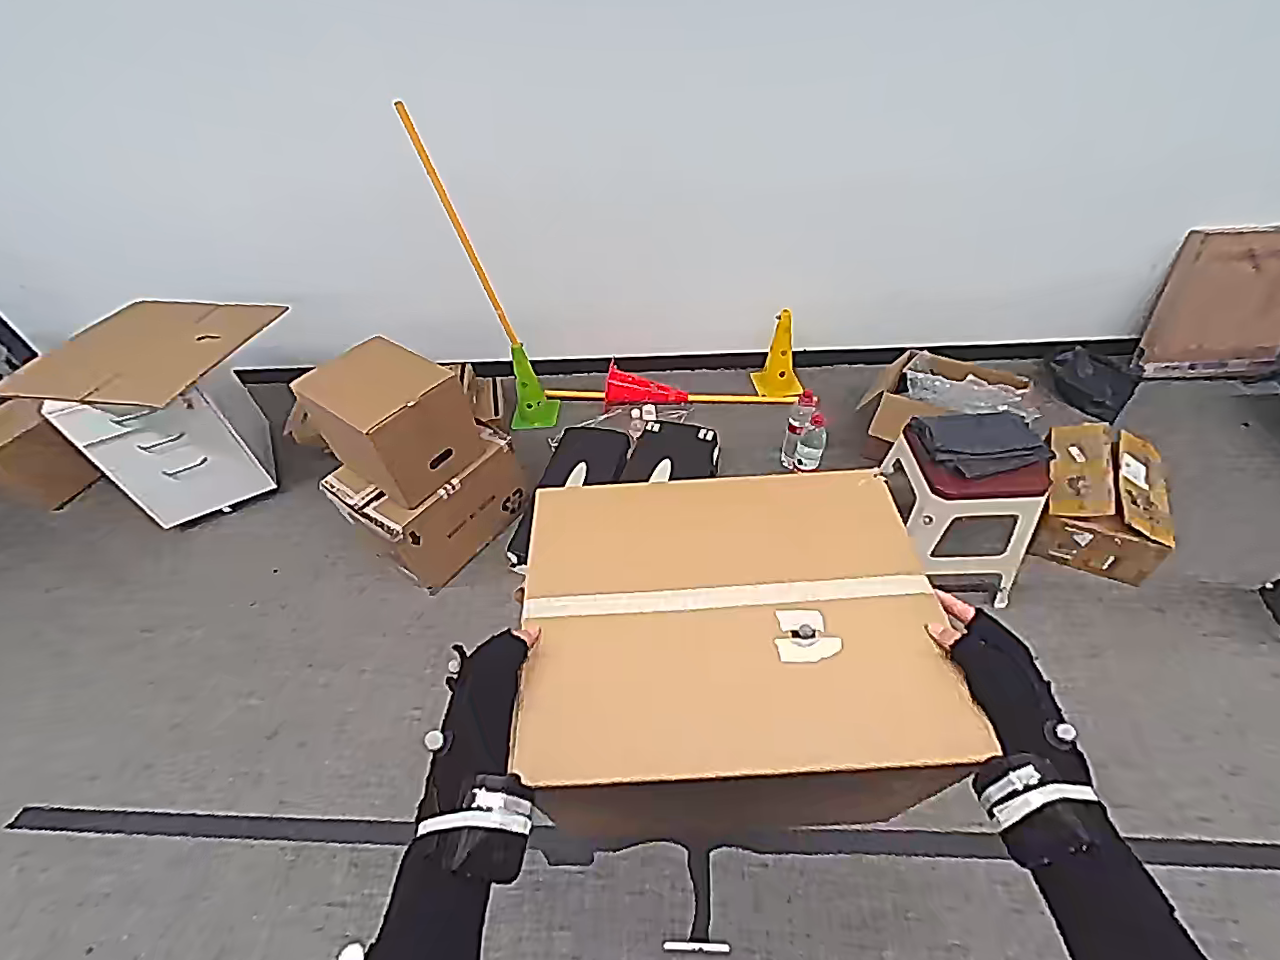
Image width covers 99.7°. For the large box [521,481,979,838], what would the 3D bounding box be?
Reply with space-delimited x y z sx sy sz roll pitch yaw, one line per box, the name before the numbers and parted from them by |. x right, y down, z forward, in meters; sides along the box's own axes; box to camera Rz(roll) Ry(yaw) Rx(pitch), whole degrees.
large box | 0.091 0.227 0.668 0.408 0.320 0.320 -3 50 0
